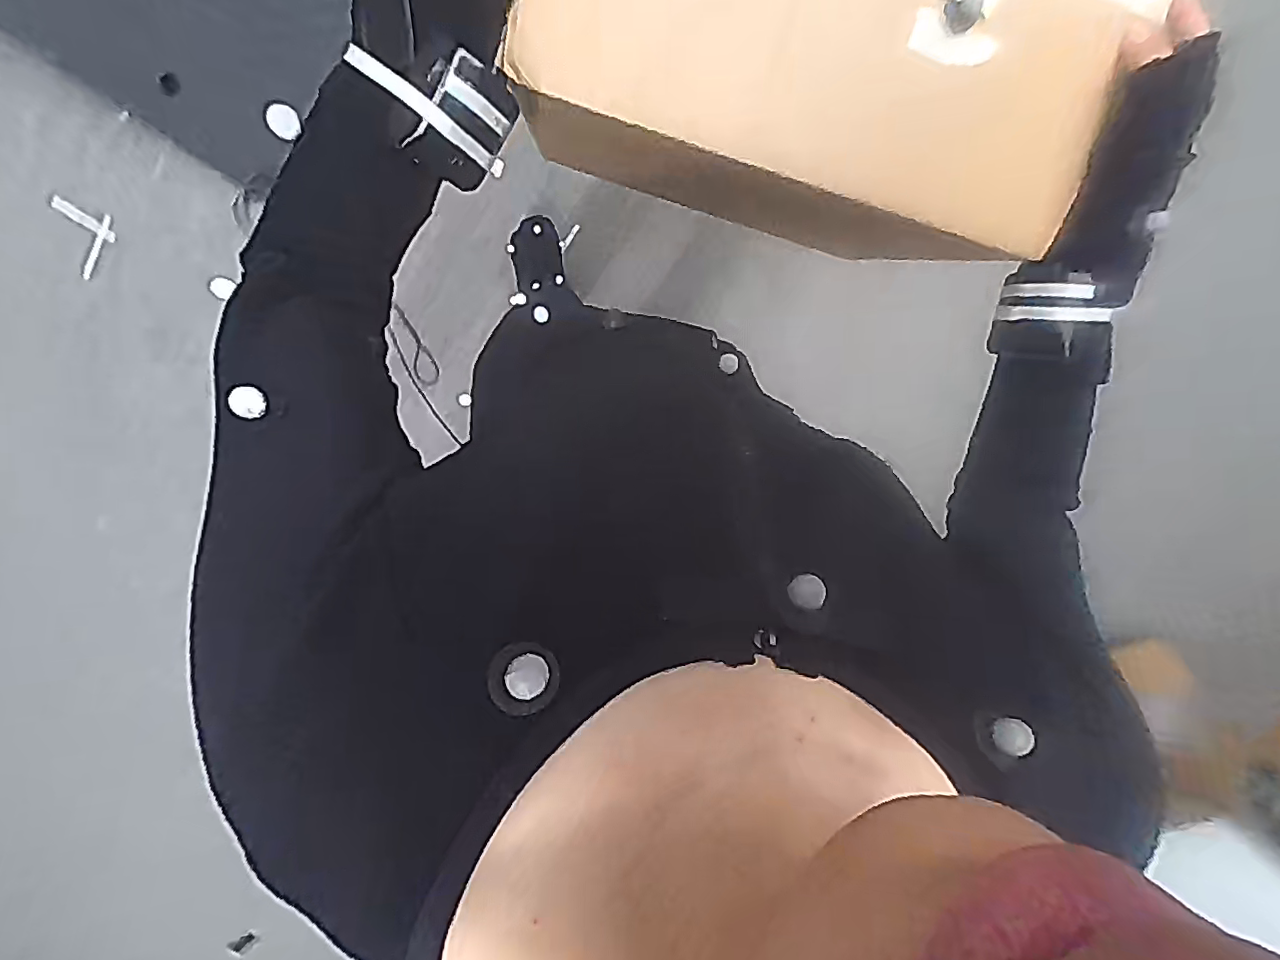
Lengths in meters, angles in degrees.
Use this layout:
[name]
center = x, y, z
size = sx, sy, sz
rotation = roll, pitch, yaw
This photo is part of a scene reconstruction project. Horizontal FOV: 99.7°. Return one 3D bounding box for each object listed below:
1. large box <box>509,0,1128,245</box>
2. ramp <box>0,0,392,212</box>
[large box]
center = 0.122, -0.417, 0.467
size = 0.408, 0.320, 0.320
rotation = 11, 111, -11
[ramp]
center = -1.054, -1.048, 1.020
size = 0.991, 0.206, 0.509
rotation = 32, 102, -13
